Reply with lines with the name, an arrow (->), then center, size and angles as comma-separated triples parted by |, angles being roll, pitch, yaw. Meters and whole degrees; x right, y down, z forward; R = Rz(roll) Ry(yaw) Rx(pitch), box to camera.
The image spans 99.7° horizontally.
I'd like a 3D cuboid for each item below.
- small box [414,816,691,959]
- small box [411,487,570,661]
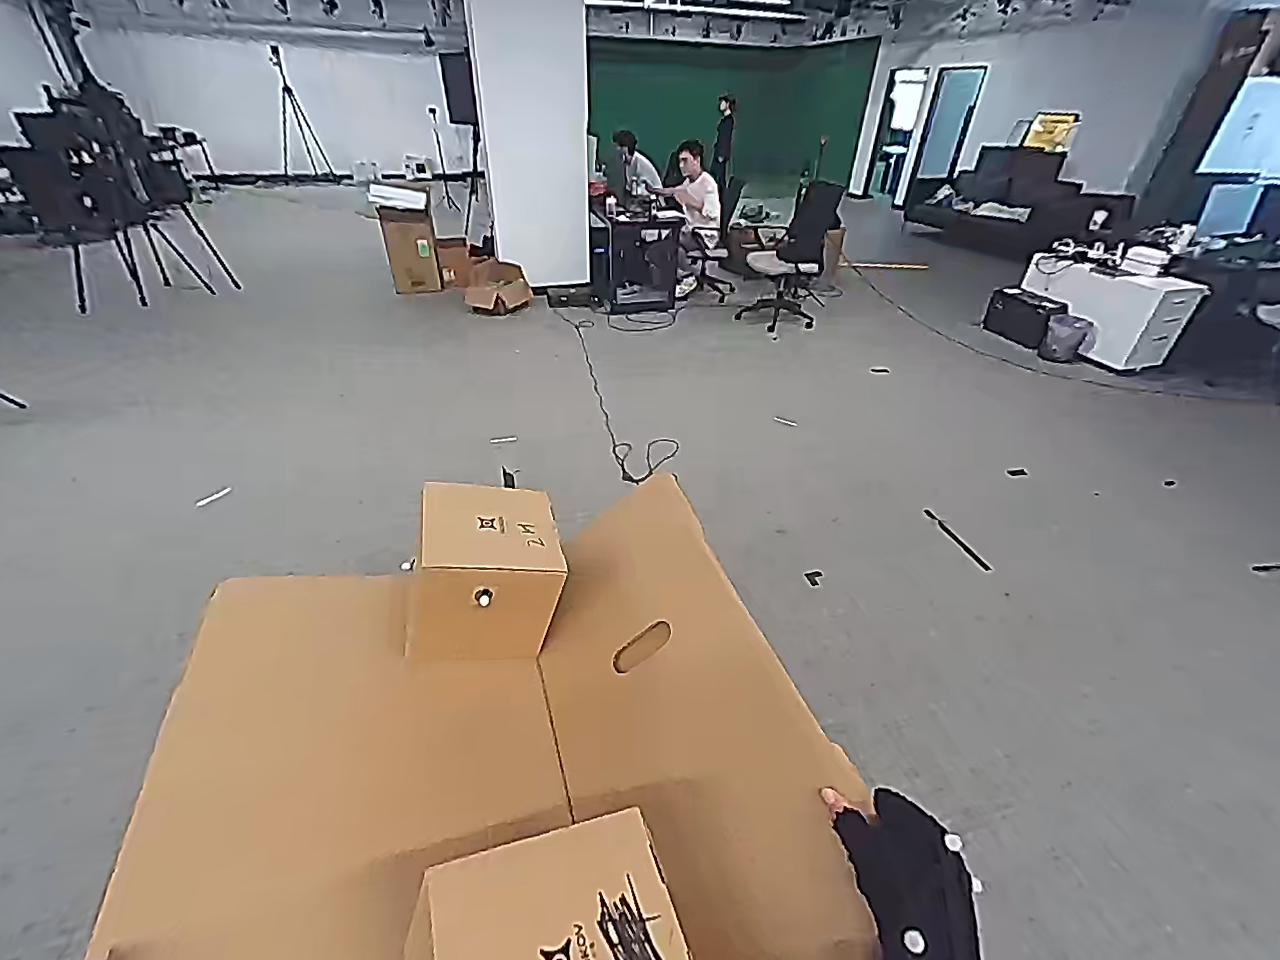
small box -> -0.072, 0.399, 0.415 | 0.179, 0.176, 0.168 | 3, 37, -29
small box -> -0.212, 0.132, 0.744 | 0.179, 0.176, 0.168 | 8, 33, -24
